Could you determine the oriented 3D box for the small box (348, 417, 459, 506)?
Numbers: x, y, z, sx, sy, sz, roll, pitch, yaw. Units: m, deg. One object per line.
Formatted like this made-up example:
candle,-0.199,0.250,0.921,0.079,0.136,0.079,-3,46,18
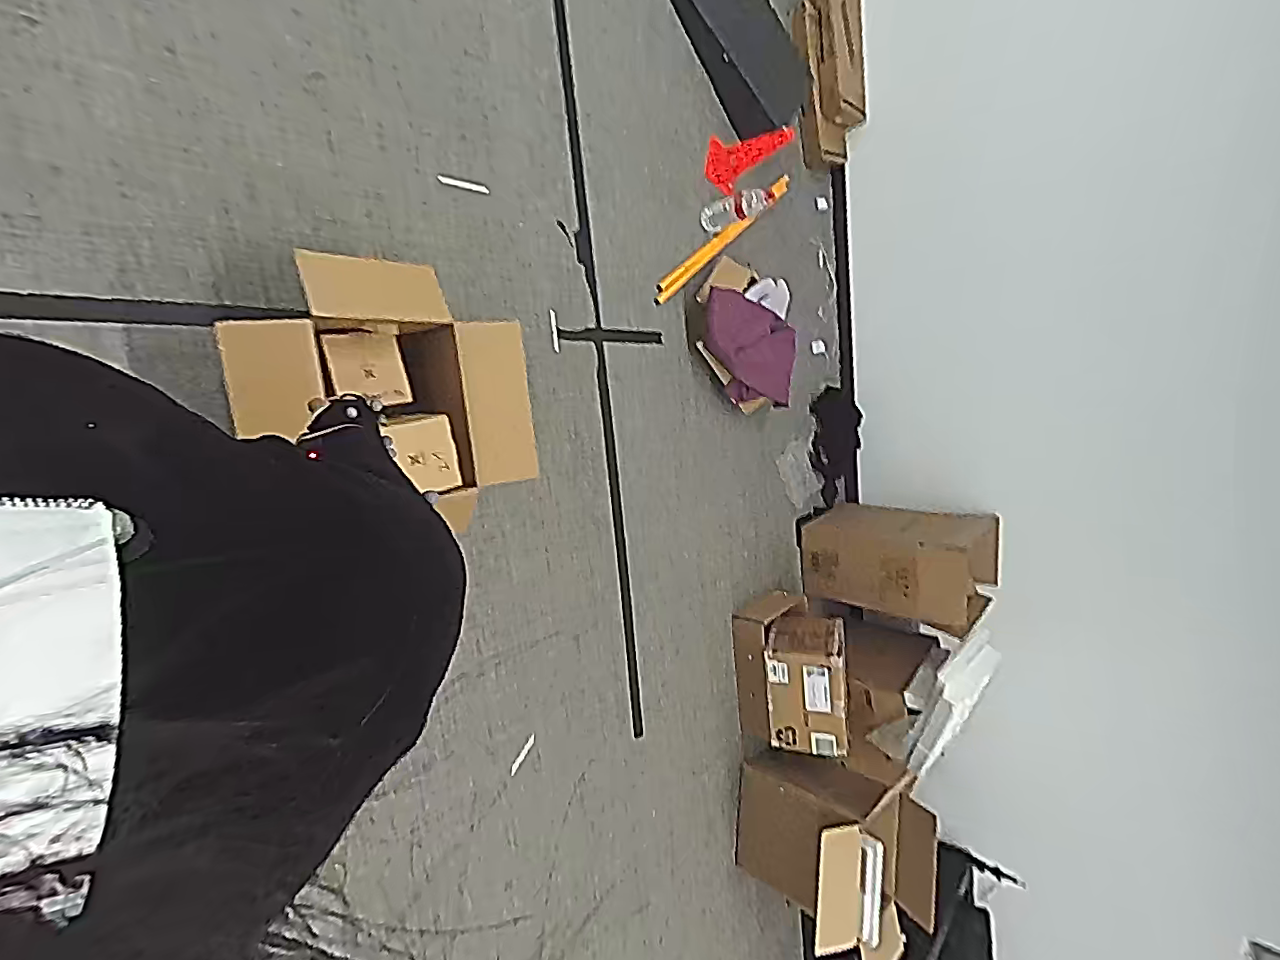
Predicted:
small box,-0.546,-0.049,1.237,0.179,0.176,0.168,-21,110,-41
